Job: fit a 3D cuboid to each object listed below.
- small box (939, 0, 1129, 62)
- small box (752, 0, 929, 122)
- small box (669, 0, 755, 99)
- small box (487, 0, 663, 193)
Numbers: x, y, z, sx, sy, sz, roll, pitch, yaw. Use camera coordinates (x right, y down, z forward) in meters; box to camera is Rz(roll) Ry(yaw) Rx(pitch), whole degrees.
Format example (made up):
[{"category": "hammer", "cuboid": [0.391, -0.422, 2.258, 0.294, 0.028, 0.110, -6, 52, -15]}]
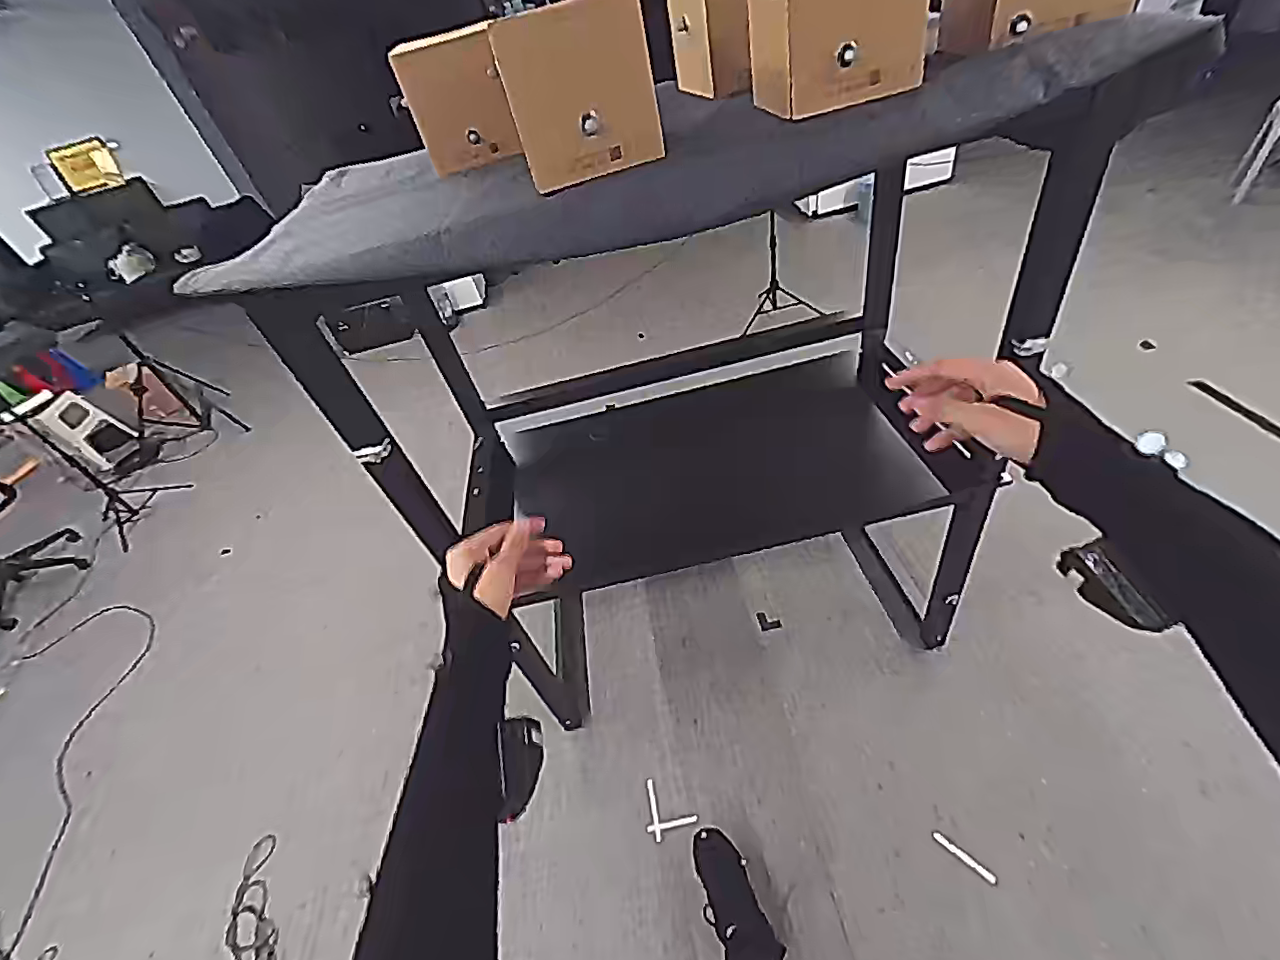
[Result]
[{"category": "small box", "cuboid": [0.506, -0.658, 0.689, 0.168, 0.176, 0.179, -8, 41, 9]}, {"category": "small box", "cuboid": [0.242, -0.575, 0.685, 0.168, 0.176, 0.179, -14, 41, 2]}, {"category": "small box", "cuboid": [0.155, -0.760, 0.905, 0.168, 0.176, 0.179, -21, 42, -5]}, {"category": "small box", "cuboid": [-0.081, -0.480, 0.678, 0.168, 0.176, 0.179, -18, 40, -1]}]
